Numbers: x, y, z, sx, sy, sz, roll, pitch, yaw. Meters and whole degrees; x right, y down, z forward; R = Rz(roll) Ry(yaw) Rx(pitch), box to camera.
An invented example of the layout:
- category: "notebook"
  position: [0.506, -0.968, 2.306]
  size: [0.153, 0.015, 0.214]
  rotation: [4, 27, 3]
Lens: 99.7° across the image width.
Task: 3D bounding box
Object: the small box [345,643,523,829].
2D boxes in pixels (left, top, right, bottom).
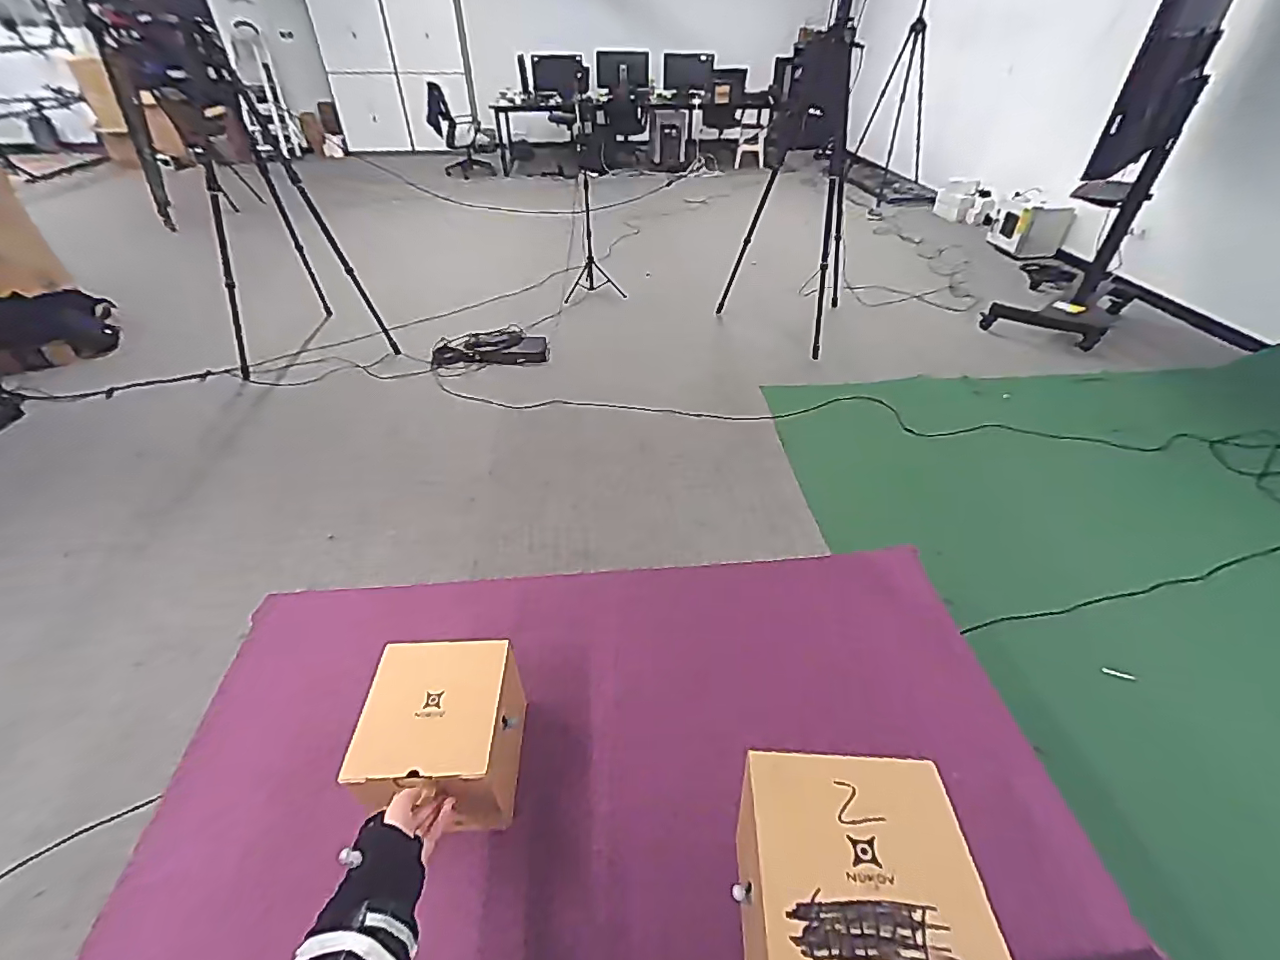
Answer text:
- category: "small box"
  position: [-0.258, 0.342, 0.728]
  size: [0.168, 0.176, 0.179]
  rotation: [-1, 41, -2]
